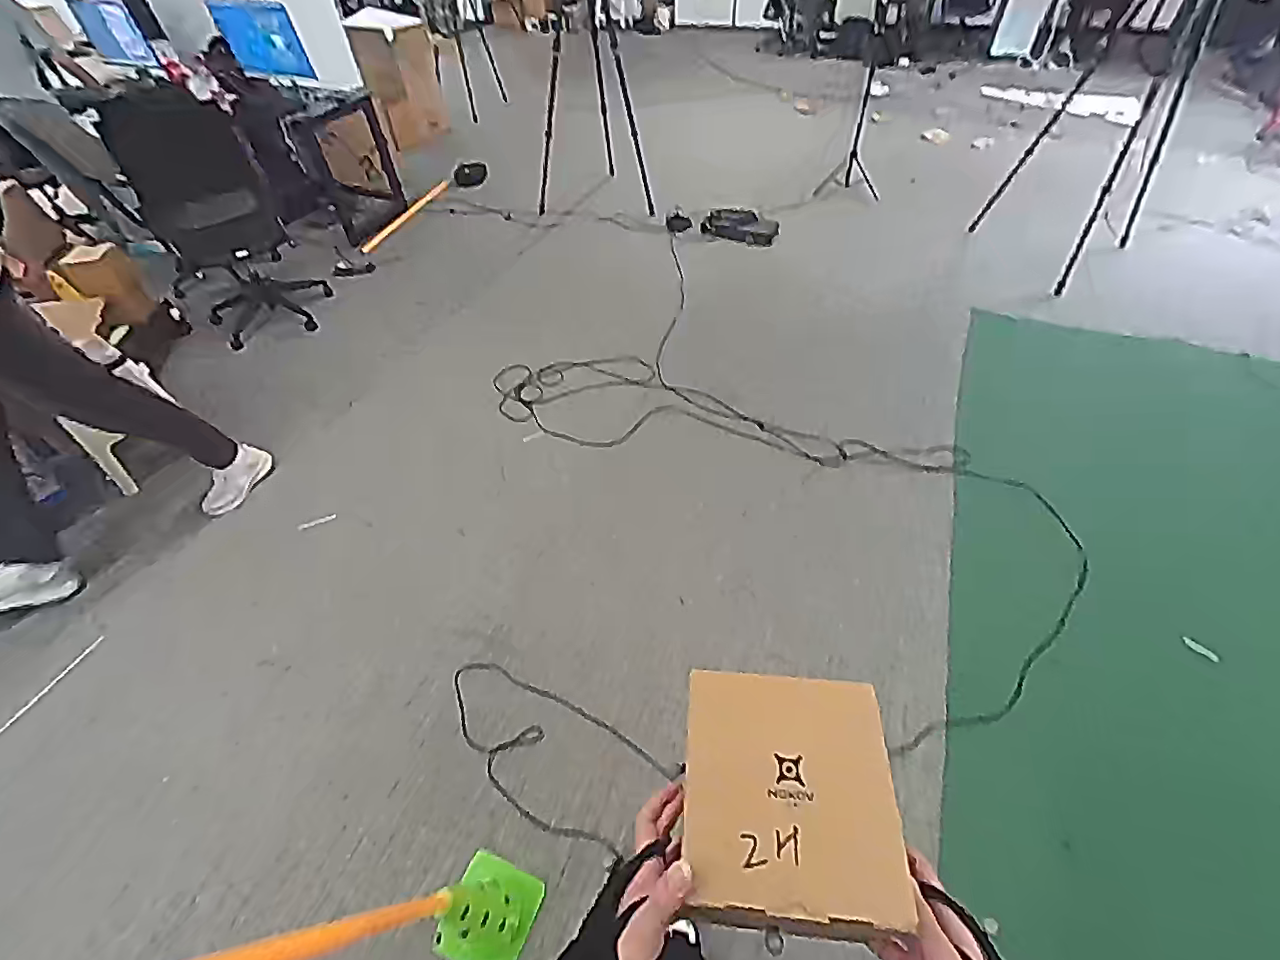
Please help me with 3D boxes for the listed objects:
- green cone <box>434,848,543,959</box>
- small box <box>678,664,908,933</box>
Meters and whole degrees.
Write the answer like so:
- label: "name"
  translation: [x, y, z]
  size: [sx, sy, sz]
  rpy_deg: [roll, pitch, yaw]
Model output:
- label: "green cone"
  translation: [-0.353, 0.888, 1.132]
  size: [0.200, 0.368, 0.202]
  rpy_deg: [16, 50, 16]
- label: "small box"
  translation: [0.124, 0.298, 0.508]
  size: [0.168, 0.176, 0.179]
  rpy_deg: [4, 48, 7]
